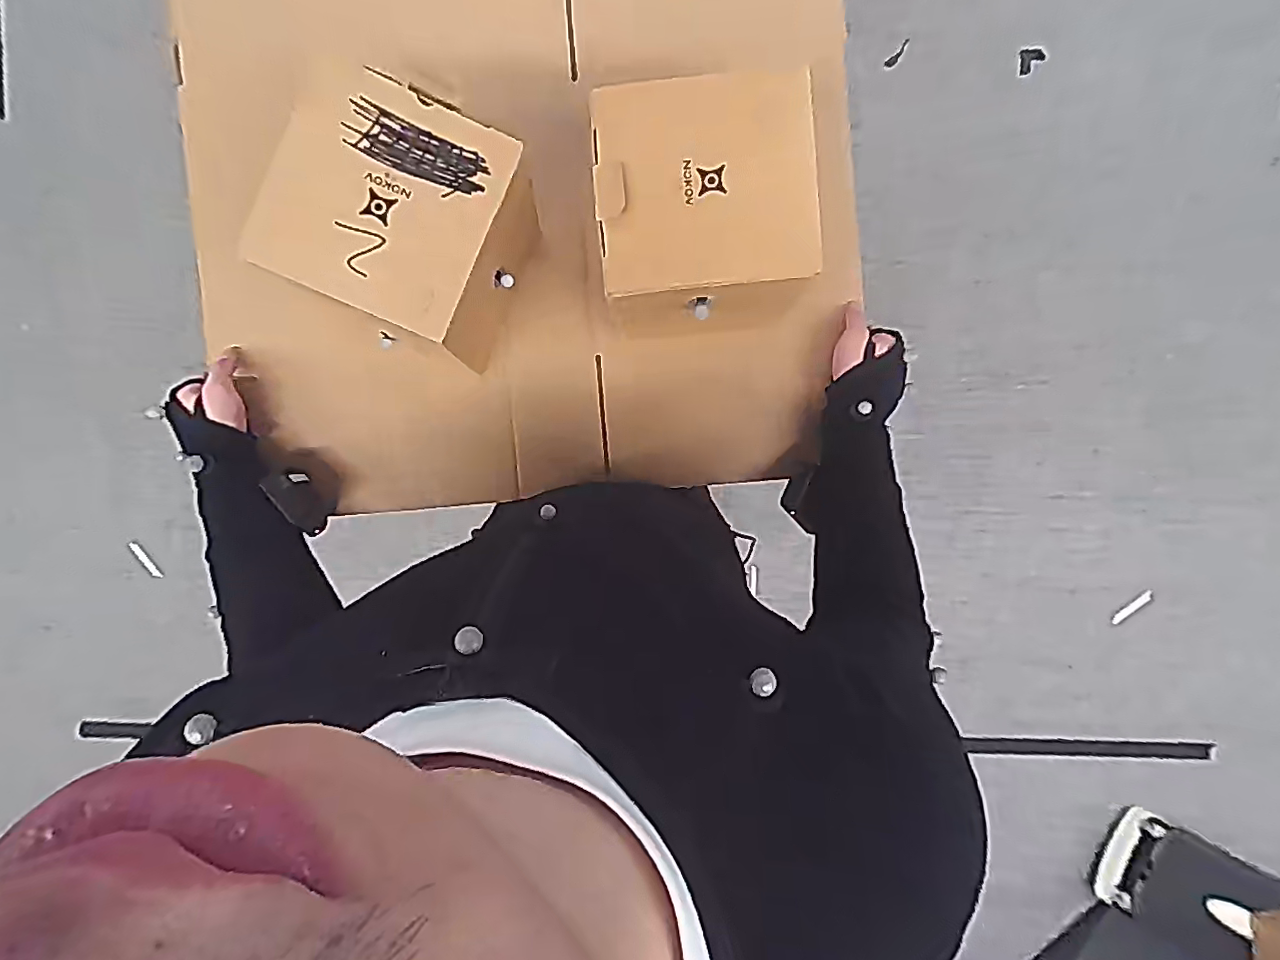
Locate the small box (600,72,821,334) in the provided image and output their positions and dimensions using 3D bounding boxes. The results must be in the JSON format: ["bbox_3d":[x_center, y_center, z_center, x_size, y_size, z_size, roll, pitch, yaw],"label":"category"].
[{"bbox_3d":[0.062,-0.246,0.524,0.179,0.176,0.168,-4,92,4],"label":"small box"}]
